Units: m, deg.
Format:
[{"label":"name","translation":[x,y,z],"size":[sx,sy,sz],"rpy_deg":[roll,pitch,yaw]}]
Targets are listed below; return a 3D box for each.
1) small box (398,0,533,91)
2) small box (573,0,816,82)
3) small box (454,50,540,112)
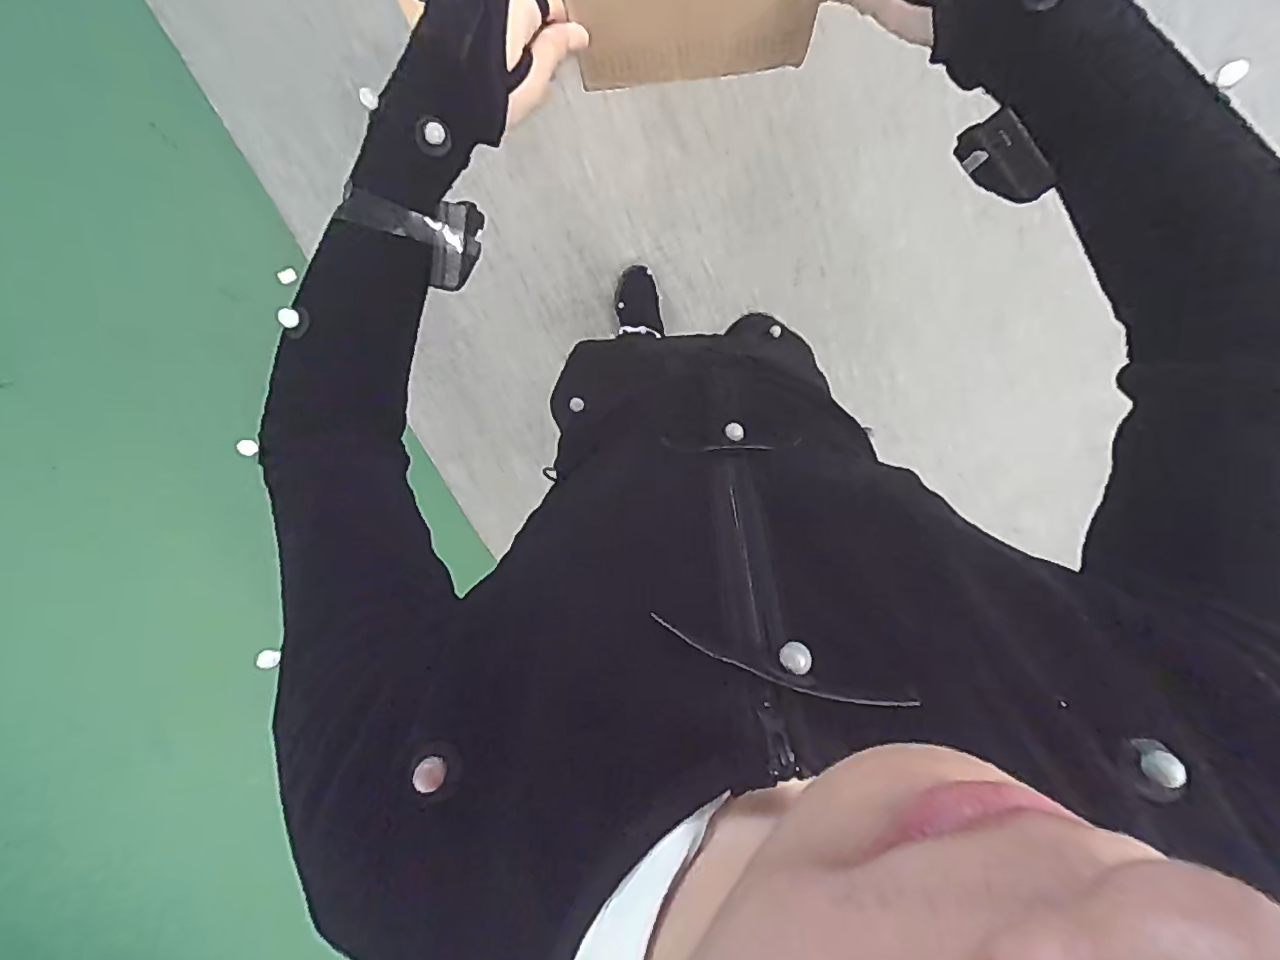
[{"label":"small box","translation":[-0.307,-0.824,0.937],"size":[0.179,0.176,0.168],"rpy_deg":[-25,107,7]},{"label":"small box","translation":[0.035,-0.409,0.362],"size":[0.179,0.176,0.168],"rpy_deg":[-2,84,5]},{"label":"small box","translation":[-0.320,-0.883,1.091],"size":[0.168,0.176,0.179],"rpy_deg":[-26,106,7]}]
